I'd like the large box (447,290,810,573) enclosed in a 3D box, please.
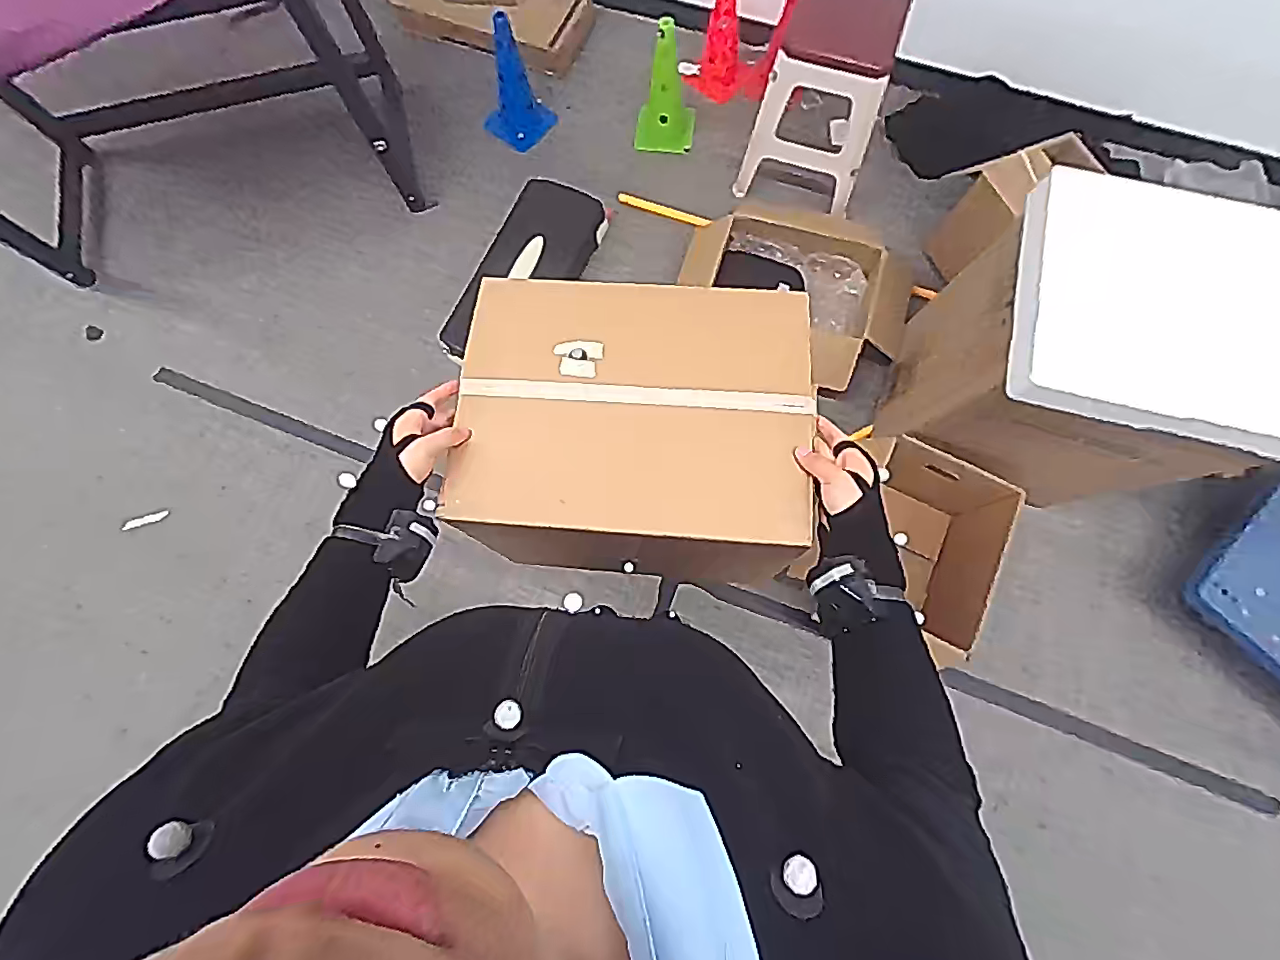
[{"bbox_3d":[0.000,-0.045,0.770,0.408,0.320,0.320,2,71,4],"label":"large box"}]
